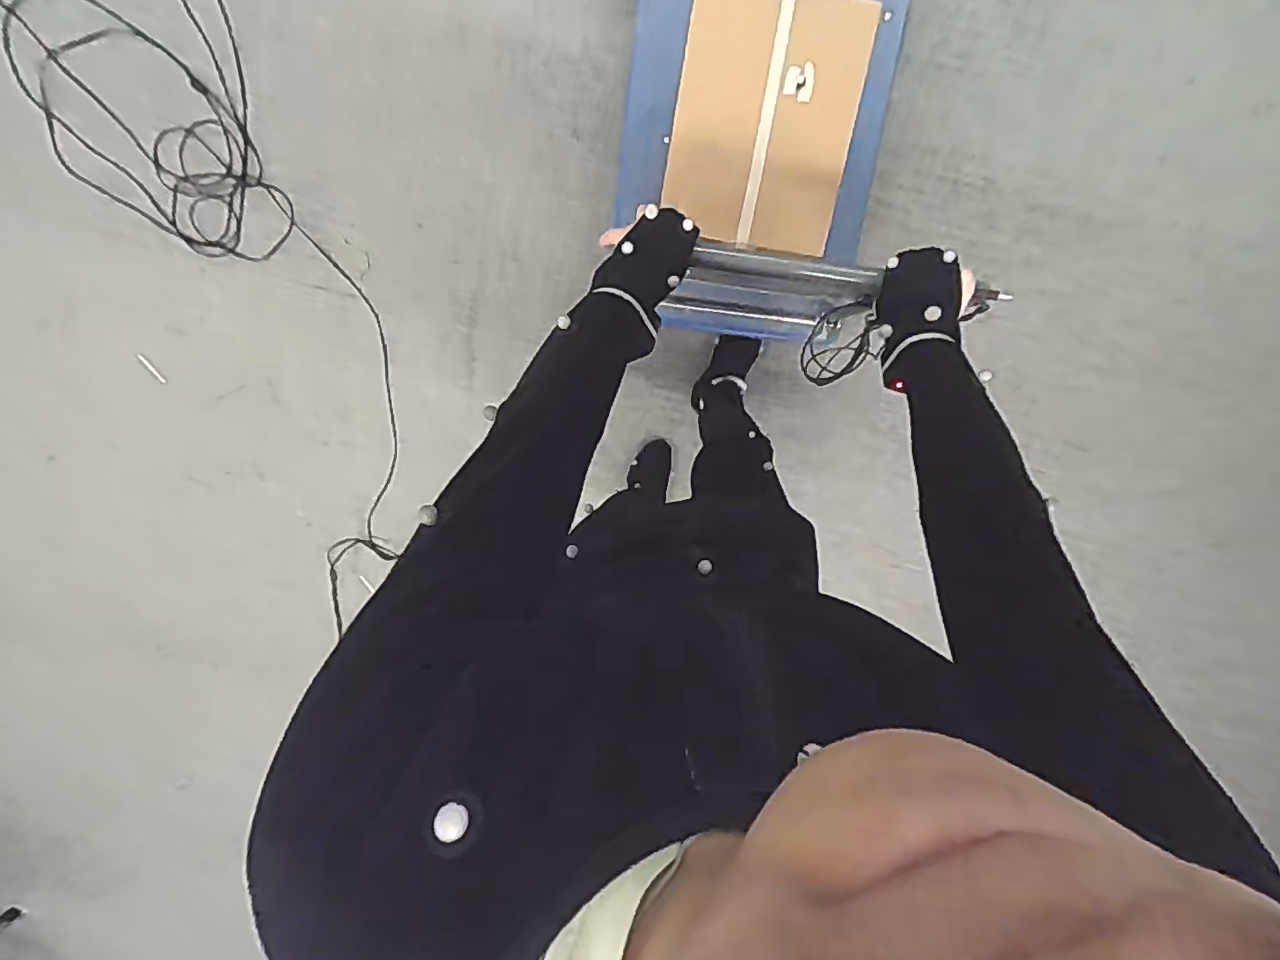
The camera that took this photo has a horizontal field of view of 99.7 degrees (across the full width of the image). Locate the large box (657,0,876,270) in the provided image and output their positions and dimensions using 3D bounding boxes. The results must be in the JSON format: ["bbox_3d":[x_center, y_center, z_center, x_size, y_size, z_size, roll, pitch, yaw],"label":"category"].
[{"bbox_3d":[0.214,-0.664,1.074,0.320,0.320,0.408,9,104,-2],"label":"large box"}]
